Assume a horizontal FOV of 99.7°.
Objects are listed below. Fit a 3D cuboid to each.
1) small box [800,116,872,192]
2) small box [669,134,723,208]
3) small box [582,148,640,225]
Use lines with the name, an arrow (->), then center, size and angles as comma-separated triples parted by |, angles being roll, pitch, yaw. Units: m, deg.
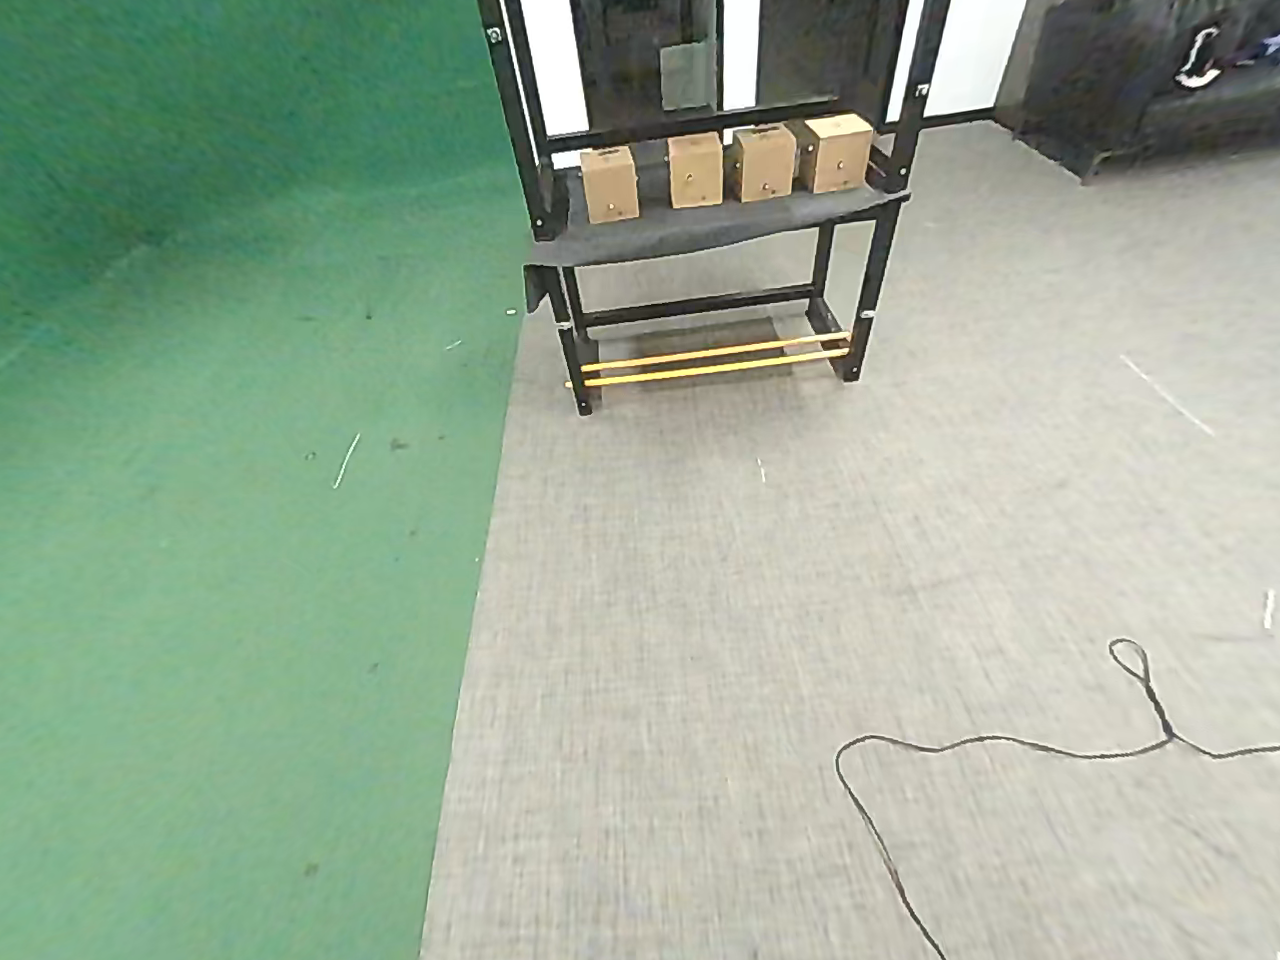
small box -> 0.632, -1.057, 1.765 | 0.168, 0.176, 0.179 | -8, 47, 0
small box -> 0.187, -1.023, 1.803 | 0.168, 0.176, 0.179 | -4, 48, 4
small box -> -0.097, -0.971, 1.793 | 0.168, 0.176, 0.179 | -10, 48, -1
